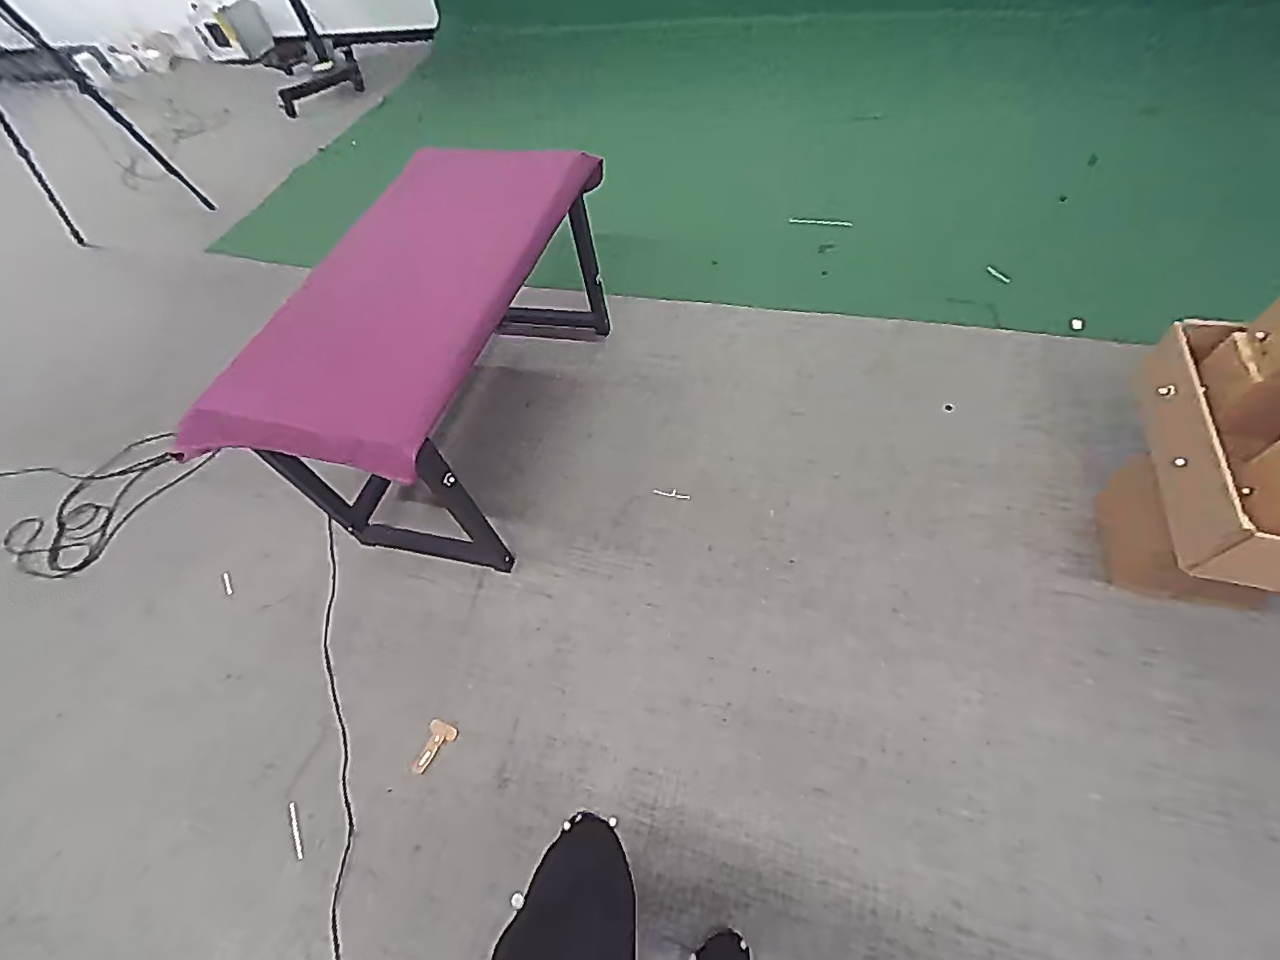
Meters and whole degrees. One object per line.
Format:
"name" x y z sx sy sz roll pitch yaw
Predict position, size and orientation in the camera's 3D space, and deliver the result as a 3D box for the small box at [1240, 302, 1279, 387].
"small box" 1.420 -0.295 1.111 0.179 0.176 0.168 13 58 16
